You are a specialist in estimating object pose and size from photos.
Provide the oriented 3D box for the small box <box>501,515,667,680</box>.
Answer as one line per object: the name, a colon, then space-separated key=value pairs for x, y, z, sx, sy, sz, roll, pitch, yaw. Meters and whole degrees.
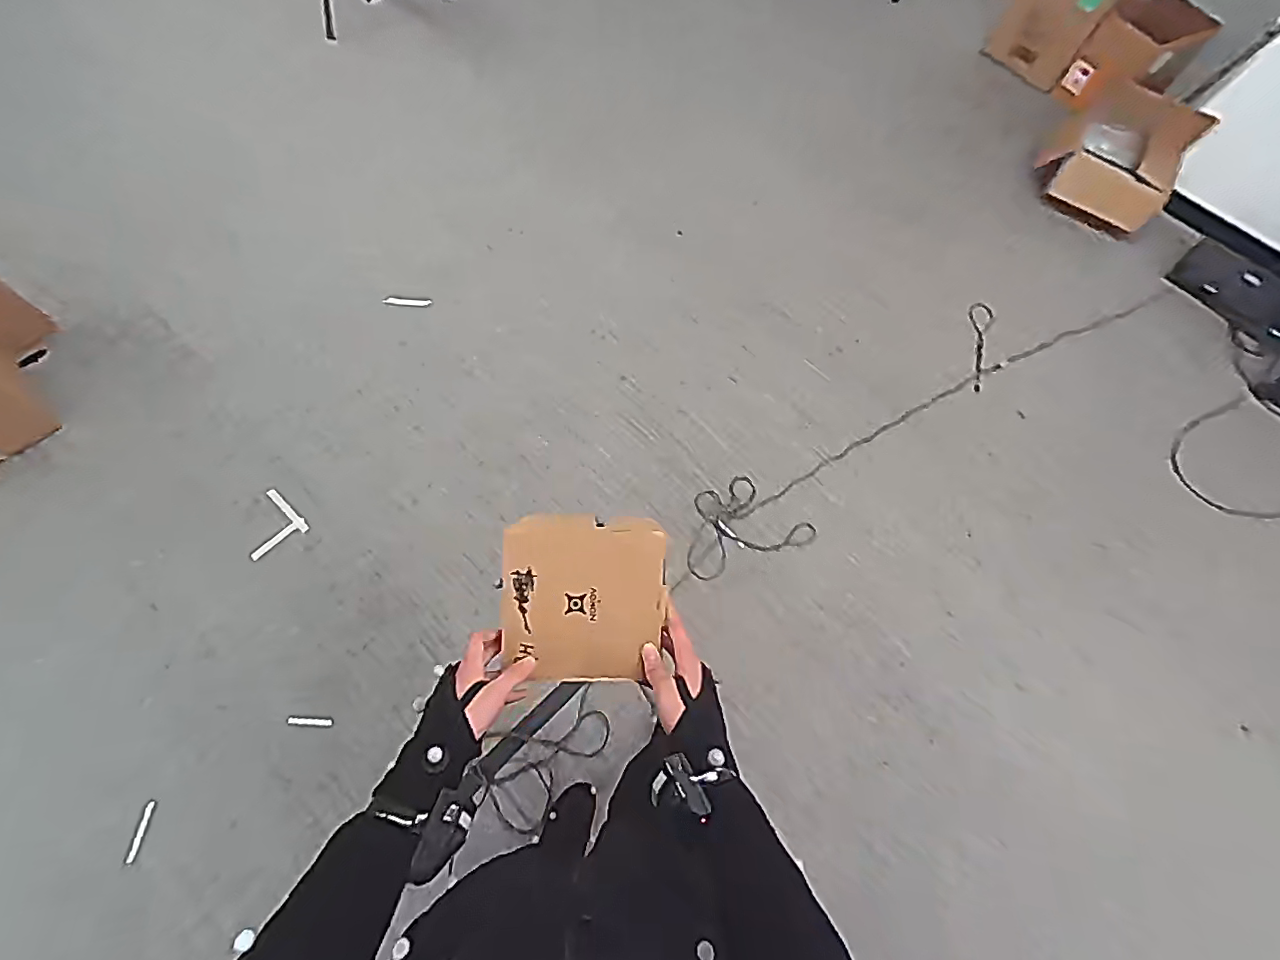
small box: x=-0.066 y=0.131 z=0.656 sx=0.179 sy=0.176 sz=0.168 roll=1 pitch=91 yaw=-4
